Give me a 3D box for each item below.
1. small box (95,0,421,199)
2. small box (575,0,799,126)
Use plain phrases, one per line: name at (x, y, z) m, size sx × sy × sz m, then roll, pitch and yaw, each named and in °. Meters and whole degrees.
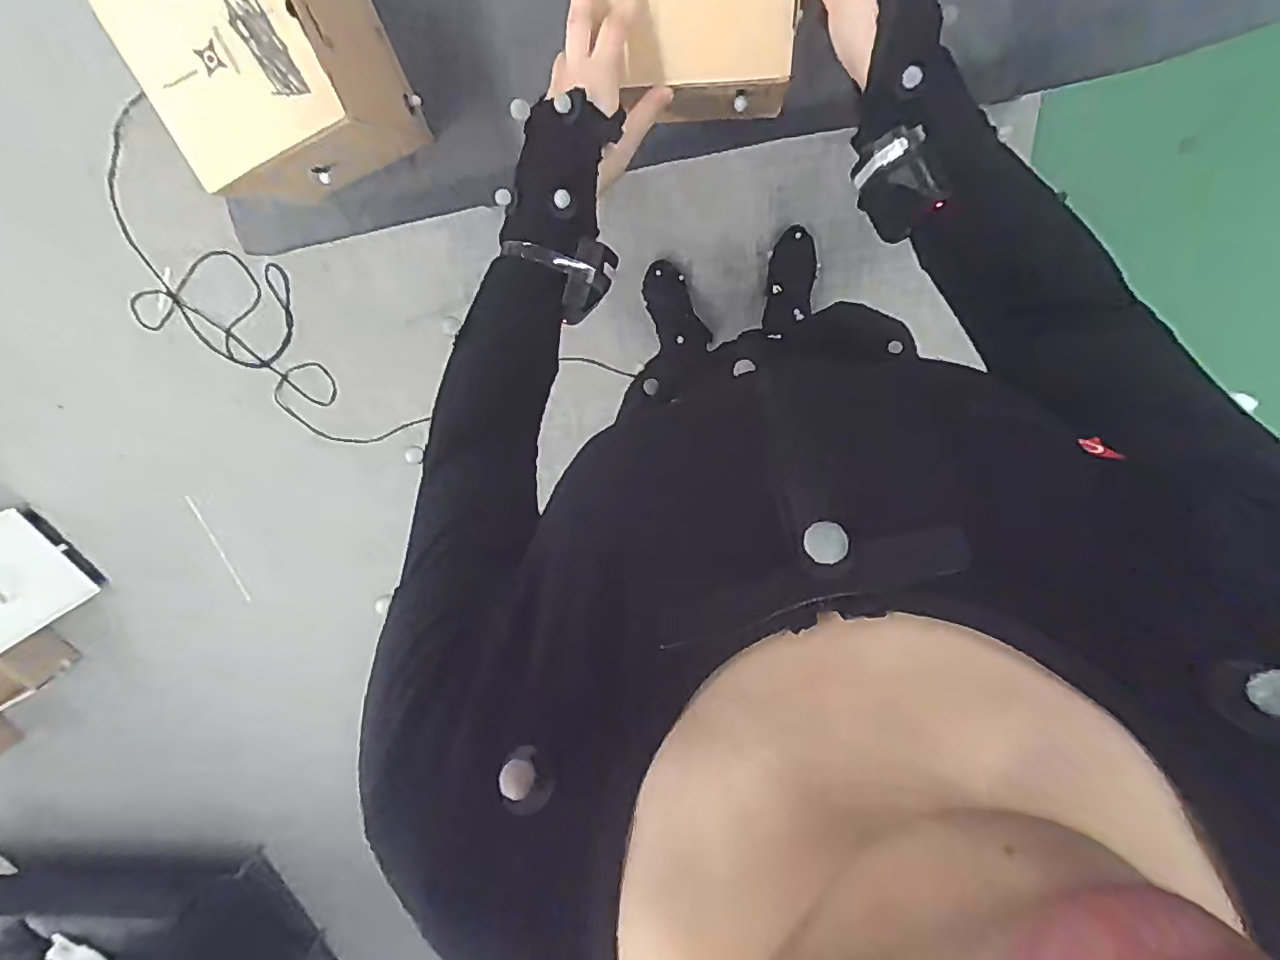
small box at (-0.351, -0.400, 0.542) m, size 0.179 × 0.176 × 0.168 m, roll -15°, pitch 113°, yaw 15°
small box at (0.046, -0.423, 0.476) m, size 0.179 × 0.176 × 0.168 m, roll 2°, pitch 116°, yaw 8°
